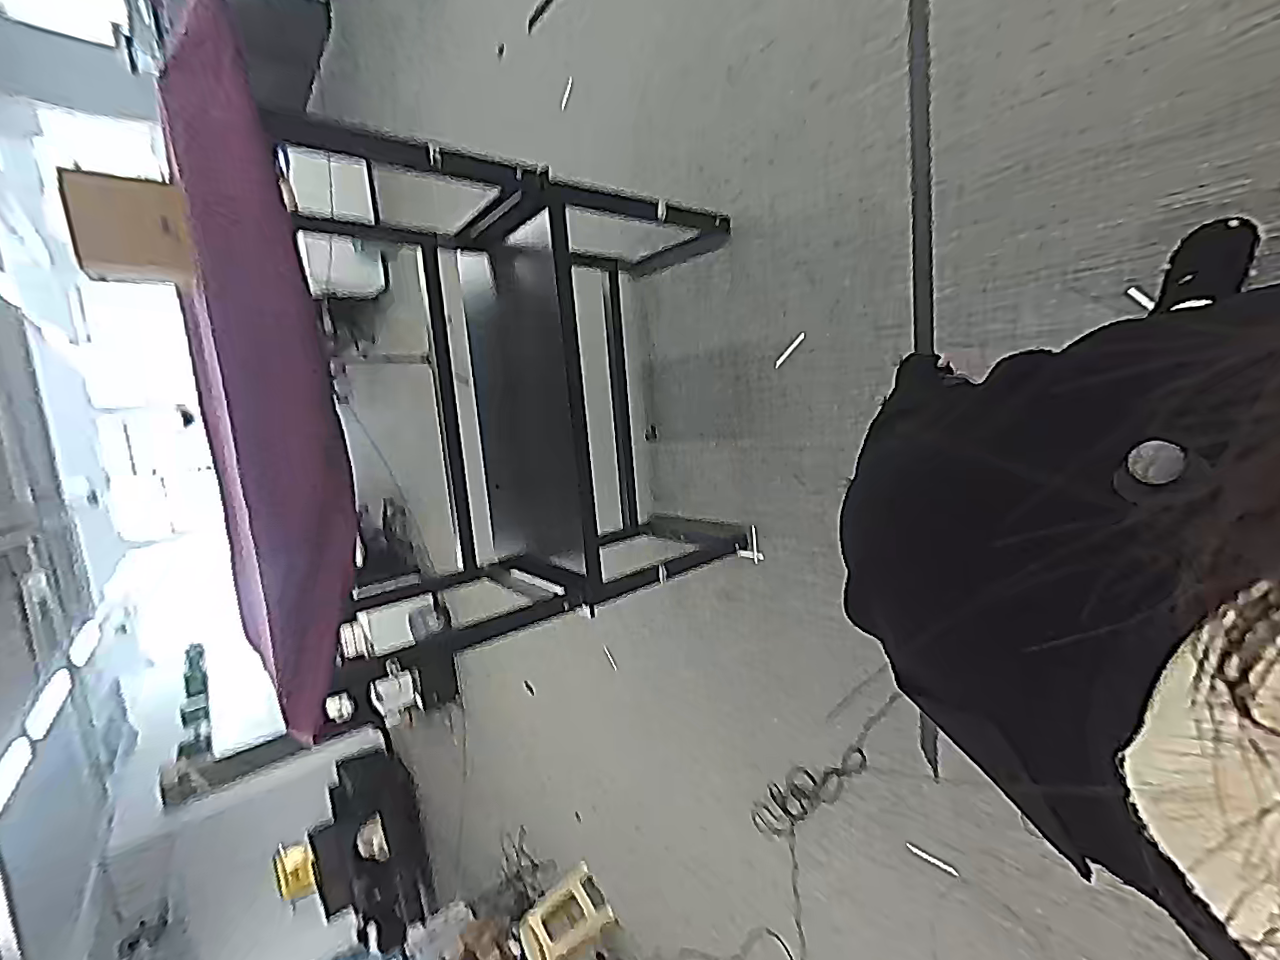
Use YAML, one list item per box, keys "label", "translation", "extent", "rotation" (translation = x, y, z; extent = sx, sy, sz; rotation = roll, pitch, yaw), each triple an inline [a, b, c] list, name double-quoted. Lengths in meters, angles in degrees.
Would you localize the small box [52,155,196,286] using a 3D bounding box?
- label: "small box"
  translation: [-0.970, -0.480, 1.030]
  extent: [0.168, 0.176, 0.179]
  rotation: [8, 104, 51]
